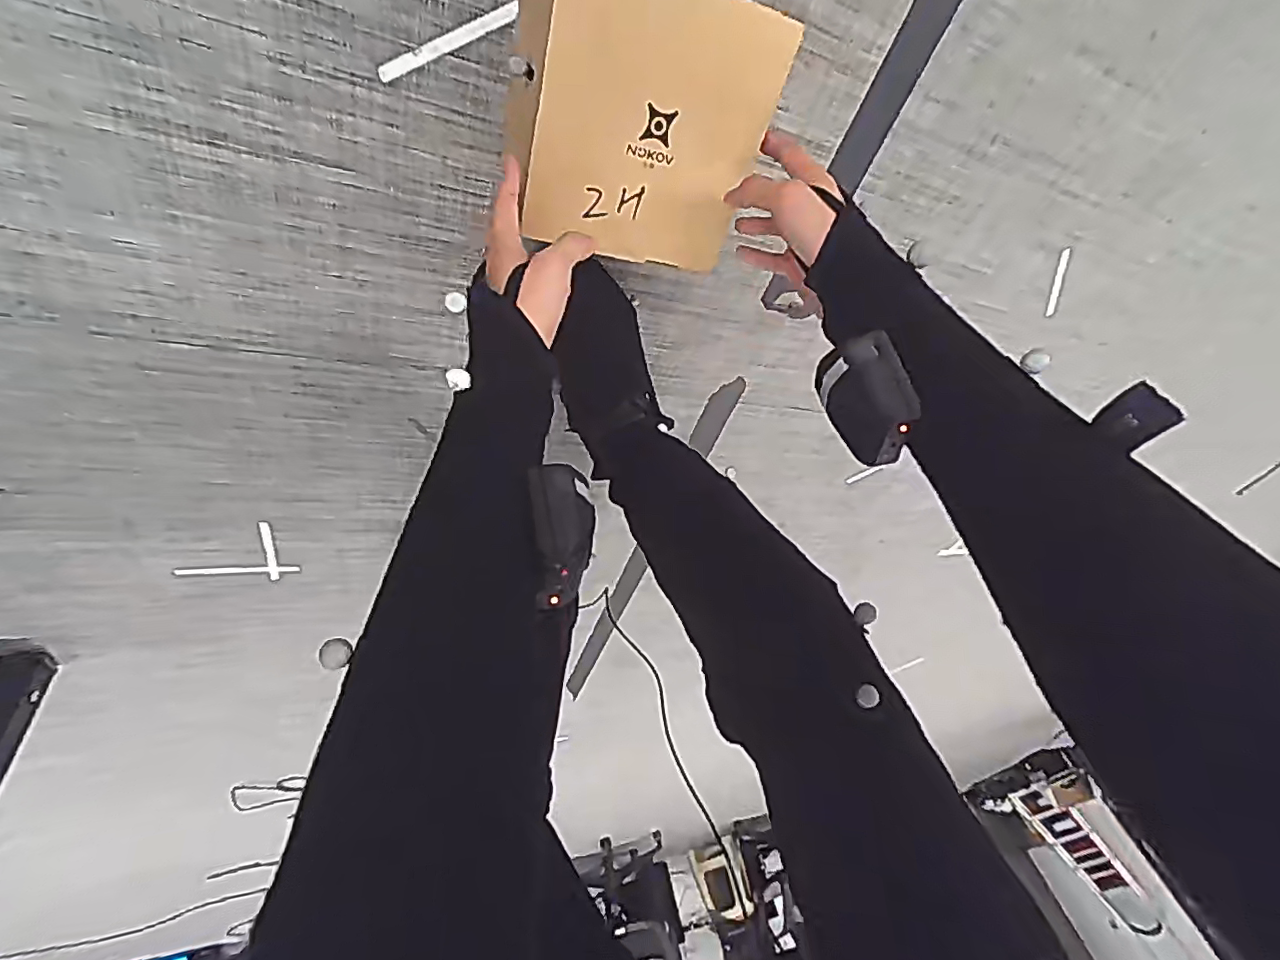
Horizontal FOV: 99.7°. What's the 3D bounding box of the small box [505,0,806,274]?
[{"bbox_3d":[-0.009,-0.298,0.431,0.168,0.176,0.179,2,135,-23],"label":"small box"}]
